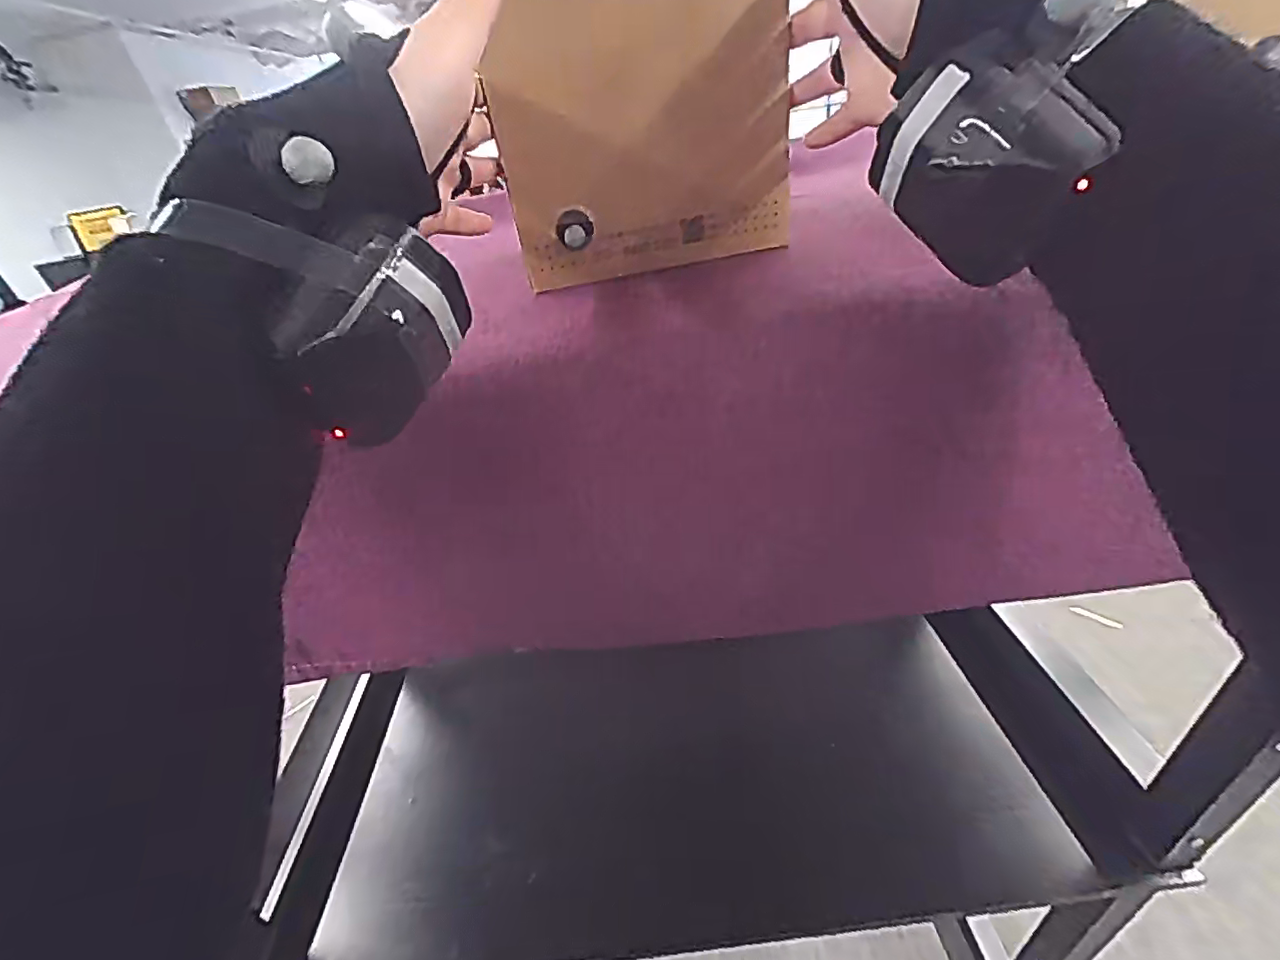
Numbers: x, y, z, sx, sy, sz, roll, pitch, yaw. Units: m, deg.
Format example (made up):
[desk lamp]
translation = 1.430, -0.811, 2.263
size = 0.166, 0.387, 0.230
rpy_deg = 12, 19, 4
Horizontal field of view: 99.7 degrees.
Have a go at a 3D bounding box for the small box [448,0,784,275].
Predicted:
[small box]
translation = -0.012, -0.242, 0.349
size = 0.168, 0.176, 0.179
rpy_deg = -12, 33, -3
